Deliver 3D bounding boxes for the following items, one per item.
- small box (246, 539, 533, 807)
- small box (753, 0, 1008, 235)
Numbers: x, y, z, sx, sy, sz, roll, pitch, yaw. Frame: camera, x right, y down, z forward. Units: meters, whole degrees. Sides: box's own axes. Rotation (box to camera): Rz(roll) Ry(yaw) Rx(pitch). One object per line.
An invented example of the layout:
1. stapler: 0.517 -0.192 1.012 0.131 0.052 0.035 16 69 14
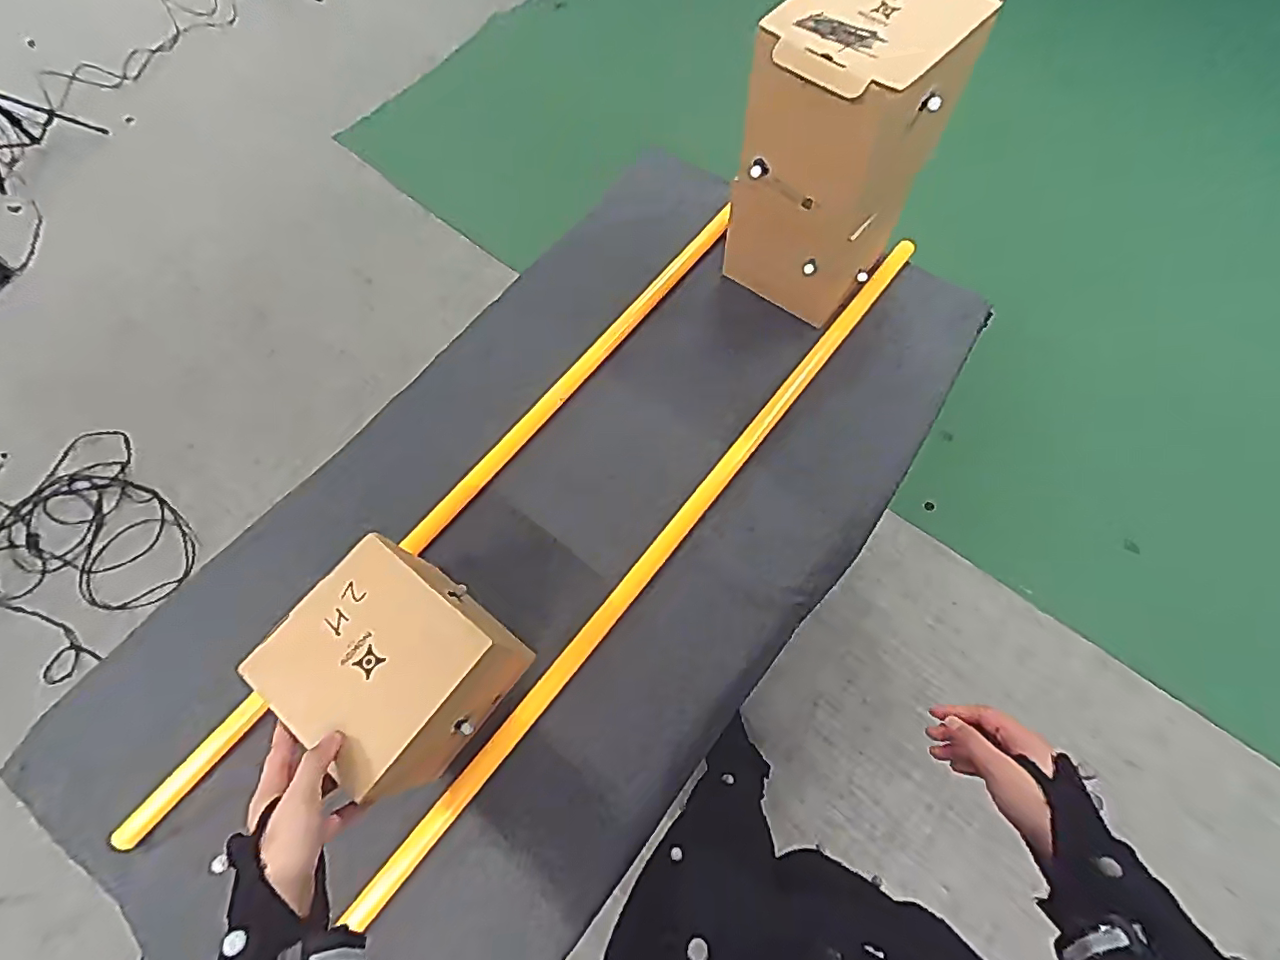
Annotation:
1. small box: -0.237 0.192 0.561 0.179 0.176 0.168 36 74 16
2. small box: 0.241 -0.412 0.594 0.168 0.176 0.179 42 76 17
